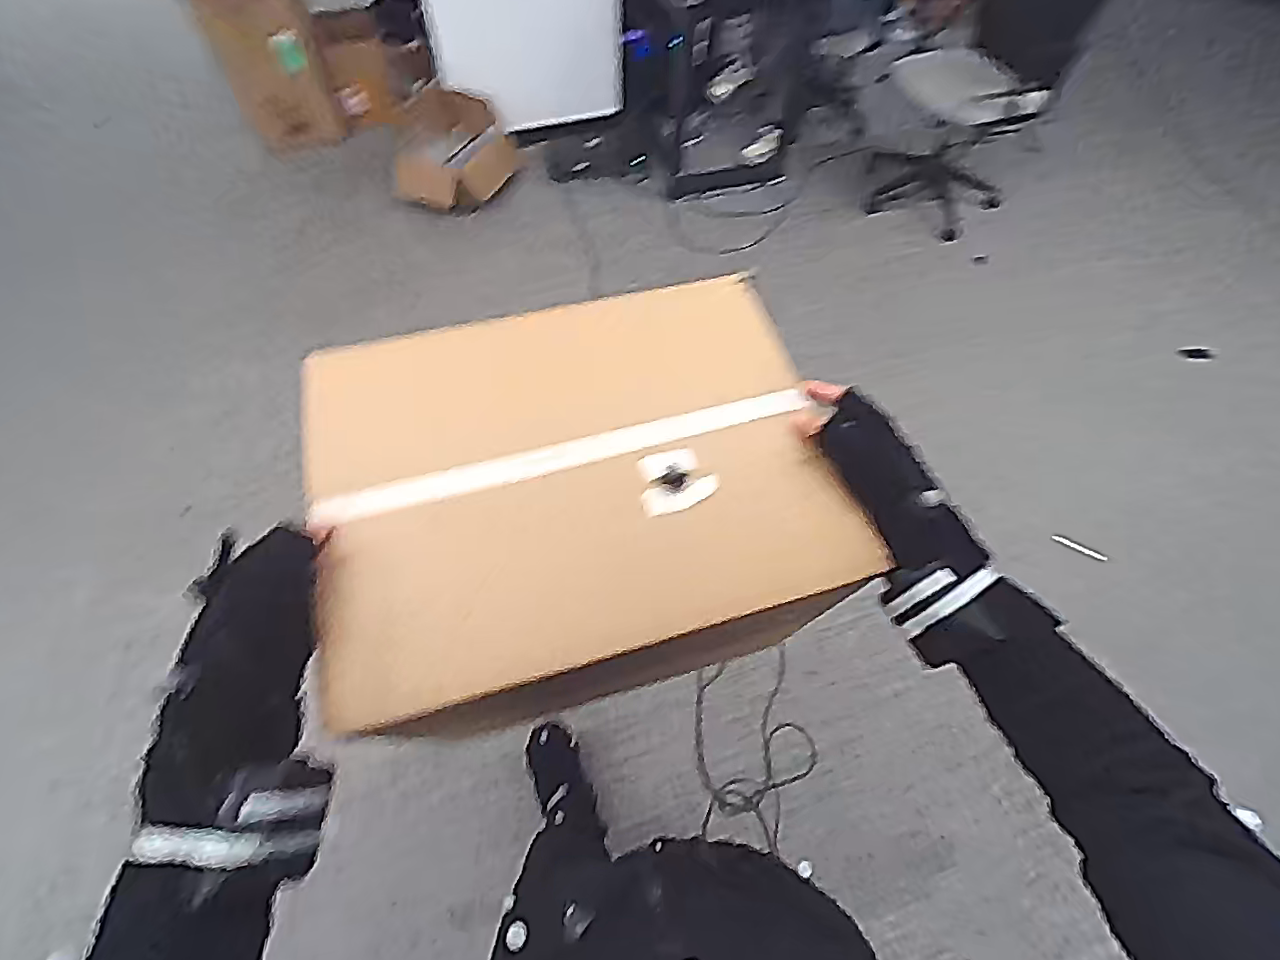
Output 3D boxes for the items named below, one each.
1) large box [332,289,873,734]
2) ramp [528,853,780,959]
[{"bbox_3d":[-0.053,0.049,0.587,0.408,0.320,0.320,-14,65,-10],"label":"large box"},{"bbox_3d":[0.144,1.245,0.851,0.509,0.206,0.991,-17,60,-10],"label":"ramp"}]
